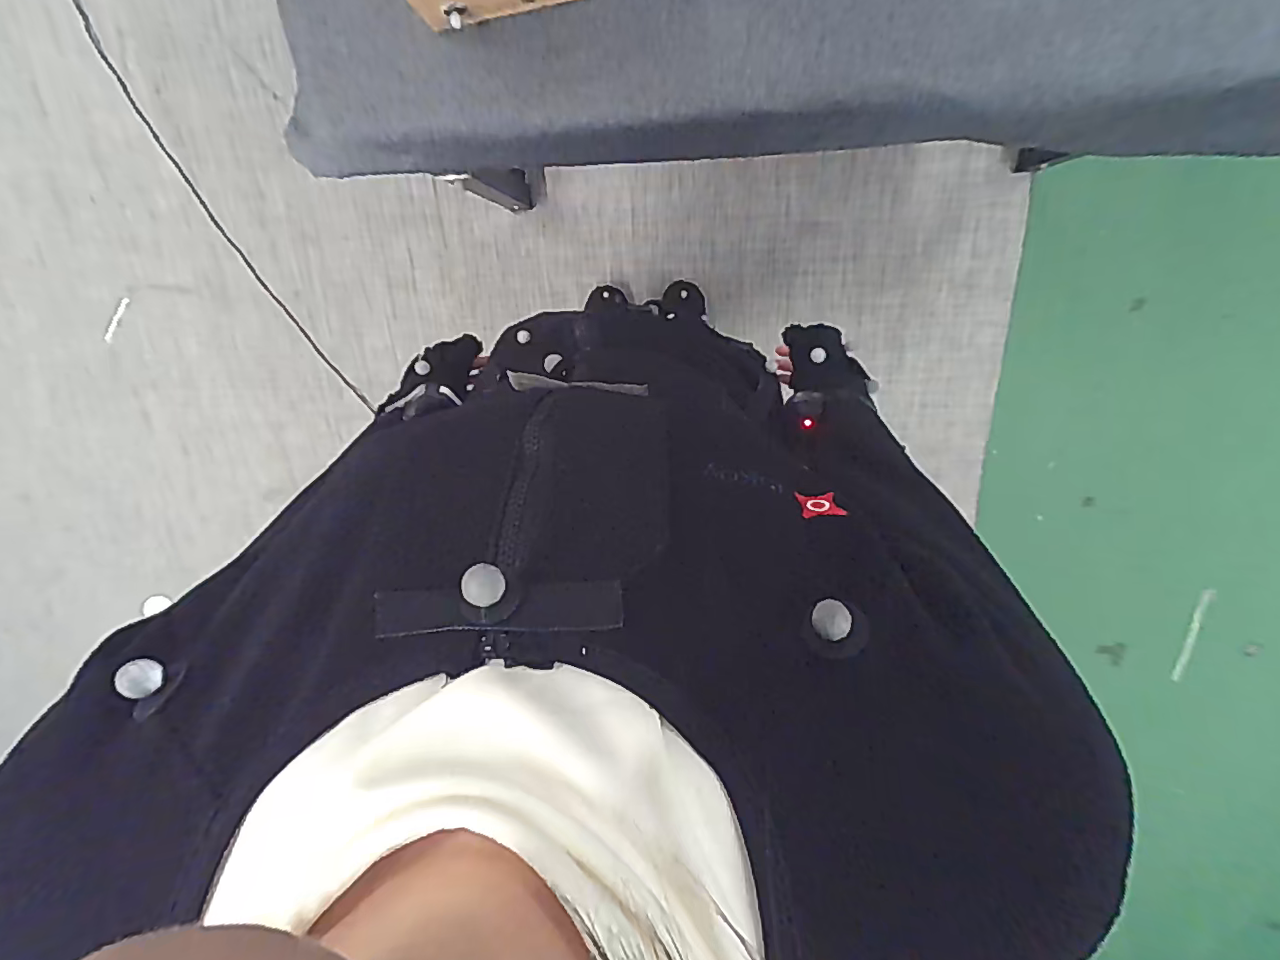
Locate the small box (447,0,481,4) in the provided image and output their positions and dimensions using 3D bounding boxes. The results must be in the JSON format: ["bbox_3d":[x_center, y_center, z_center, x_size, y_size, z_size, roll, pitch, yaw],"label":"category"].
[{"bbox_3d":[-0.137,-0.525,0.428,0.168,0.176,0.179,-8,108,6],"label":"small box"}]
